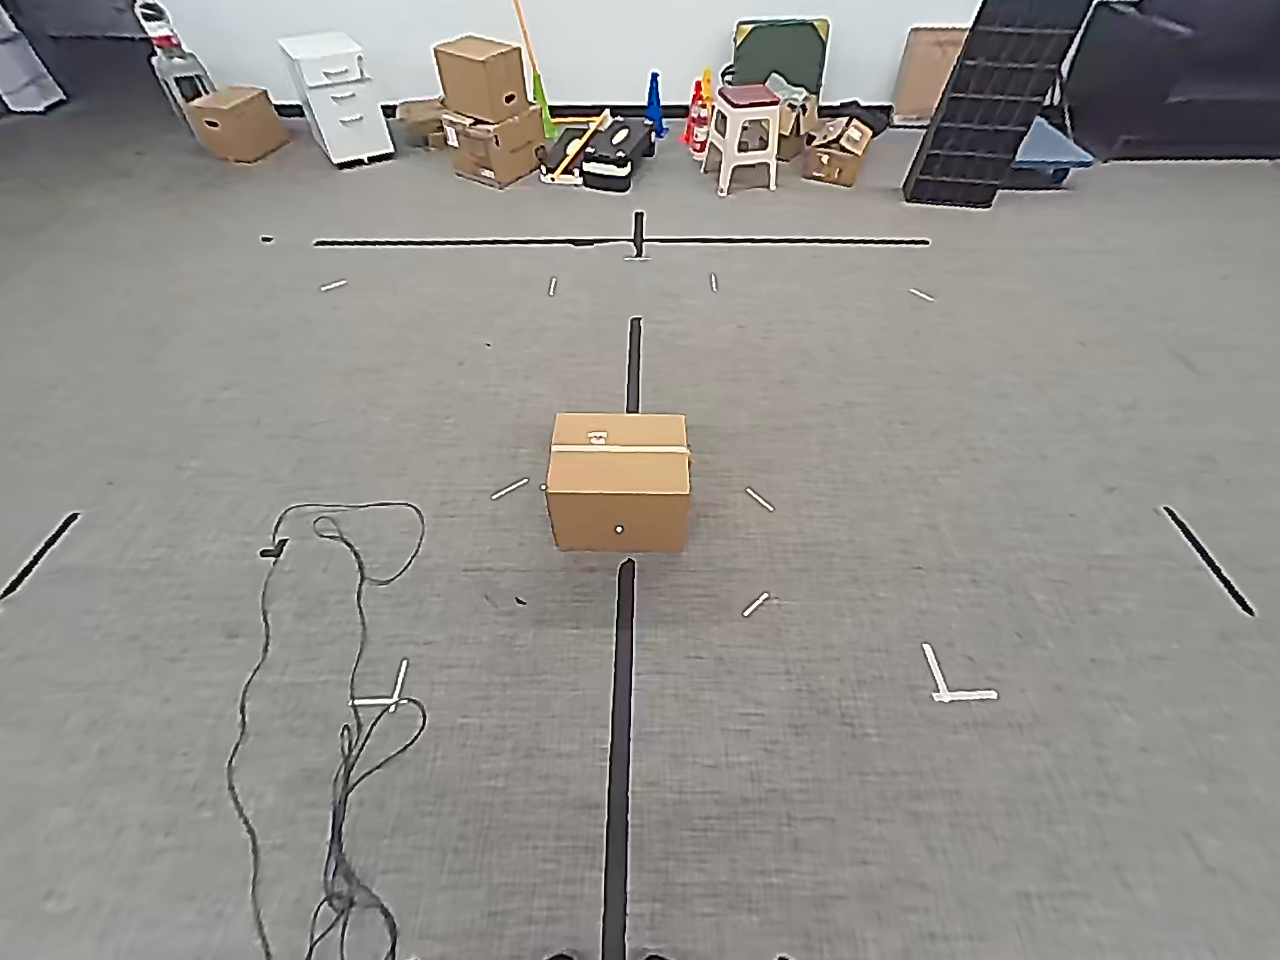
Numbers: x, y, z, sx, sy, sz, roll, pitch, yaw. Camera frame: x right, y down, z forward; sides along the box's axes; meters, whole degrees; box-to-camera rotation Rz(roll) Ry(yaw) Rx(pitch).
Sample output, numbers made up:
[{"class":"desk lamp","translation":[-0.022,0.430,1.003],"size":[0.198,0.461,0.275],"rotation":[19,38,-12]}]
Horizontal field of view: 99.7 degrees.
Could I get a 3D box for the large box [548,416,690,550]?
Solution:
[{"class":"large box","translation":[-0.058,0.014,1.714],"size":[0.408,0.320,0.320],"rotation":[0,51,1]}]
